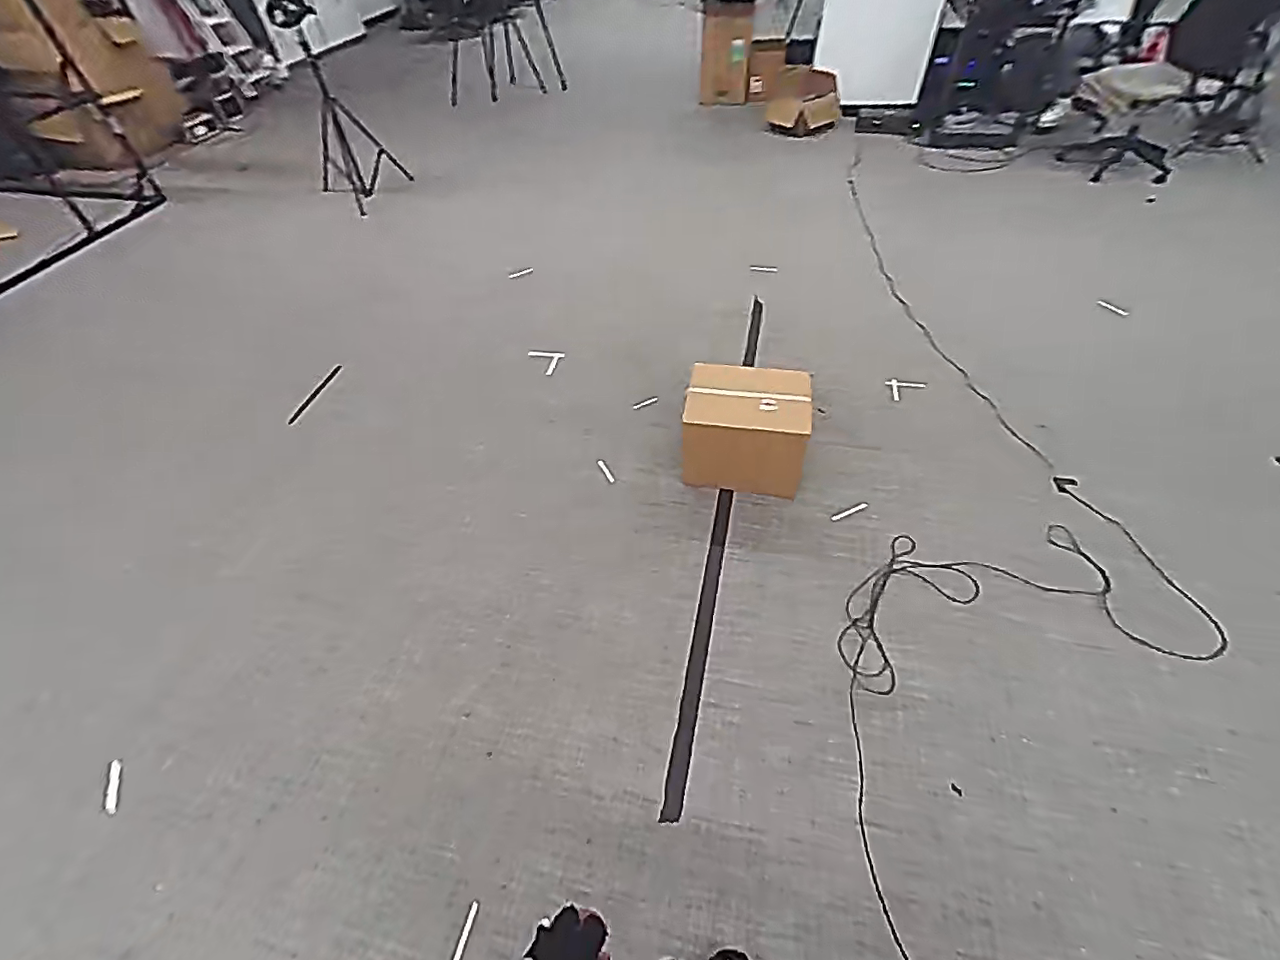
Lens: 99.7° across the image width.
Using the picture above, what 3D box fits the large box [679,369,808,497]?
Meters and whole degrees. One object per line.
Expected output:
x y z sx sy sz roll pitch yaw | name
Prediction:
0.355 -0.164 1.906 0.408 0.320 0.320 7 50 9 | large box
